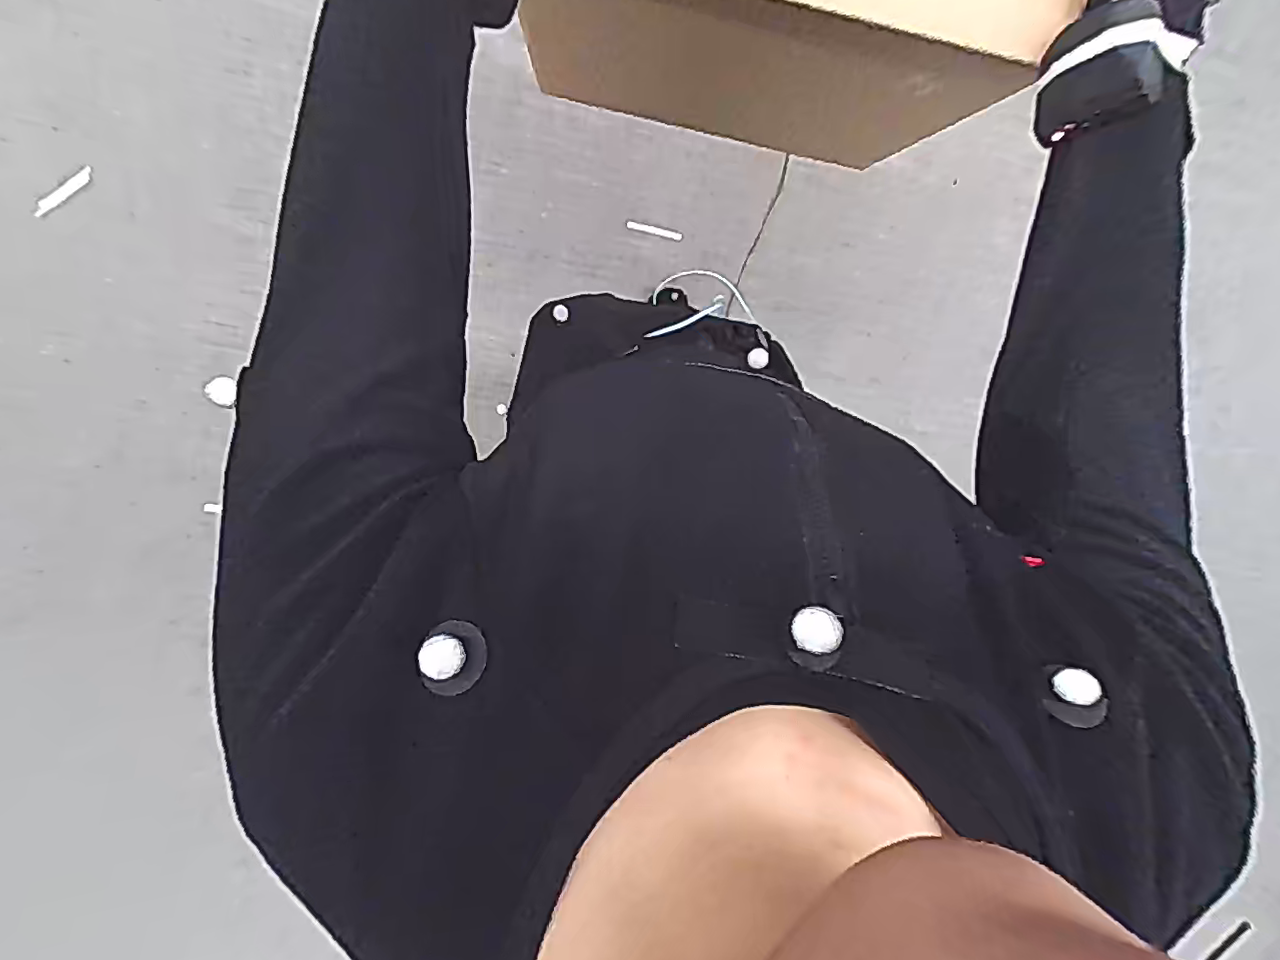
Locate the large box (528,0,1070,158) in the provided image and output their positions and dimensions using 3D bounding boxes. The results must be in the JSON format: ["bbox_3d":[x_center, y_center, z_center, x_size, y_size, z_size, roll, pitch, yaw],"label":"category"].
[{"bbox_3d":[0.120,-0.523,0.467,0.408,0.320,0.320,9,109,-8],"label":"large box"}]
